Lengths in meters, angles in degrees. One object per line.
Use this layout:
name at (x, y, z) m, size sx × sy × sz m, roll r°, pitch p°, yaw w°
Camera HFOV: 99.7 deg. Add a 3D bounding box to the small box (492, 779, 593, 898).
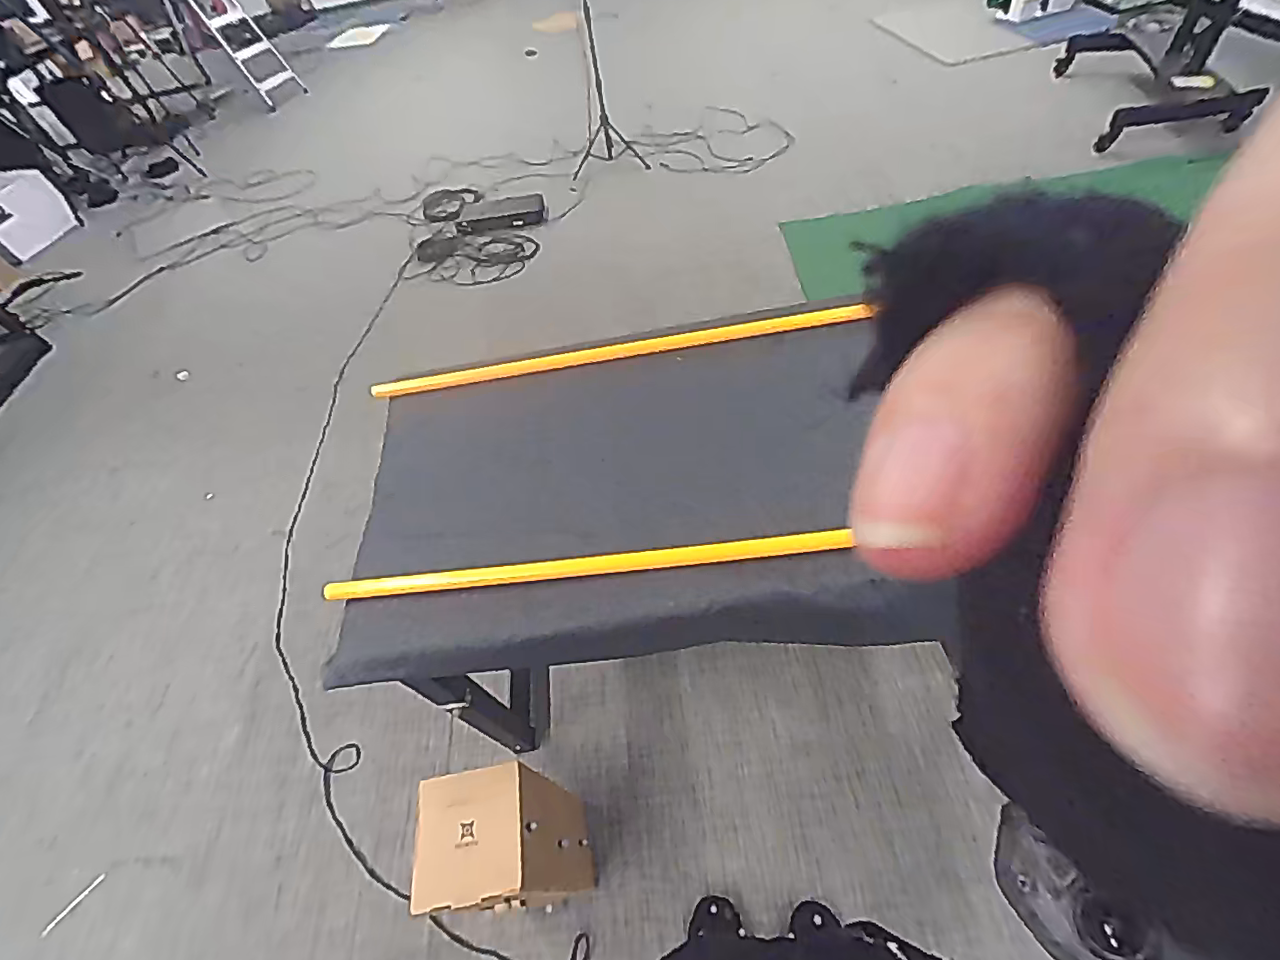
small box at (-0.206, 0.763, 1.150) m, size 0.168 × 0.176 × 0.179 m, roll -15°, pitch 54°, yaw -1°
